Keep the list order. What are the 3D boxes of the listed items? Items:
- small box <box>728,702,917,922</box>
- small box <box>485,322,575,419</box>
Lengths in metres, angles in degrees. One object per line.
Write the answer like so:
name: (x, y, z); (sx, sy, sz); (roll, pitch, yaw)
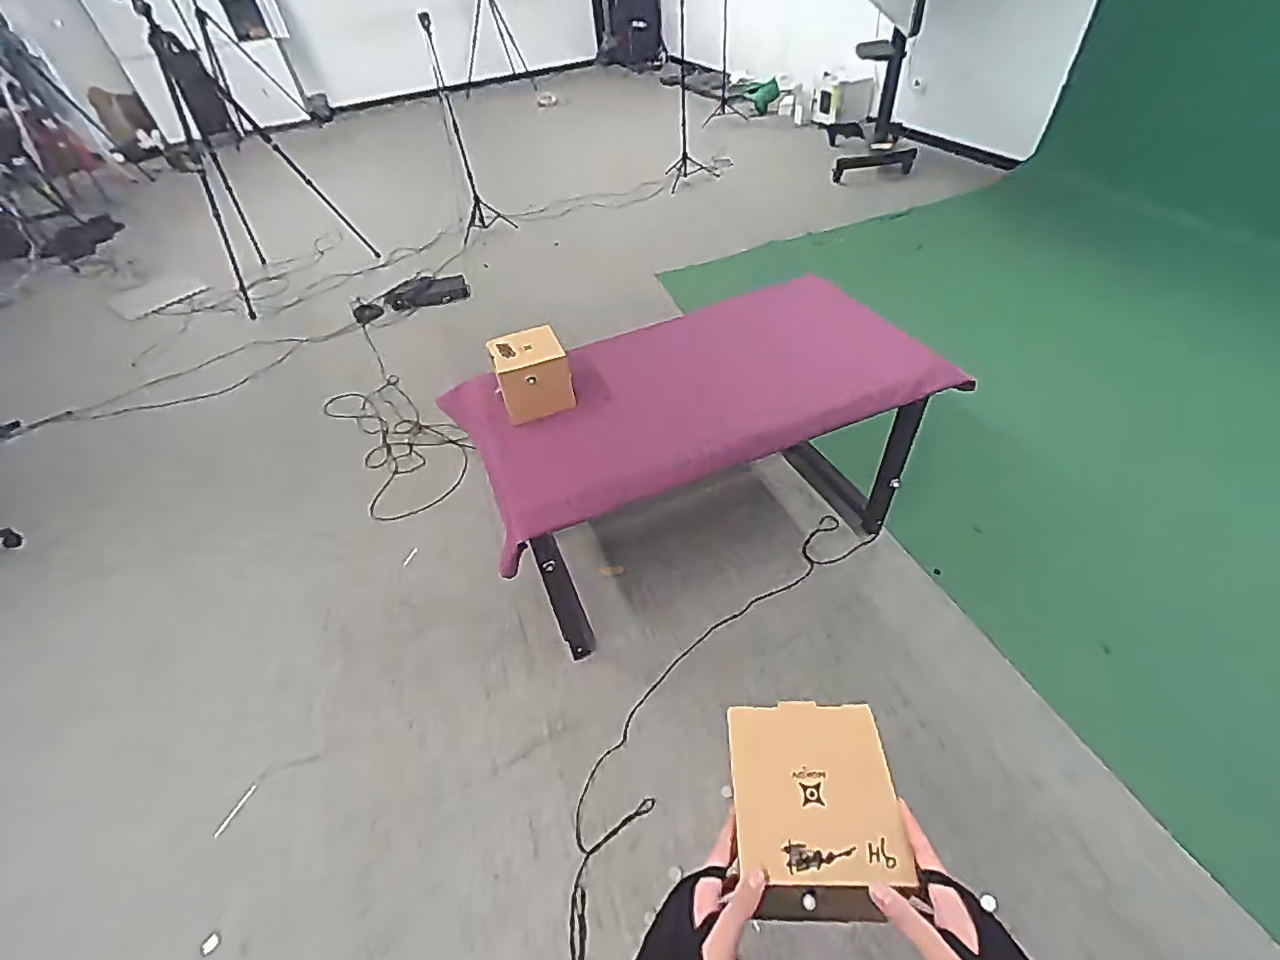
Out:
small box: (0.188, 0.376, 0.618); (0.168, 0.176, 0.179); (-4, 43, 7)
small box: (-0.287, -0.284, 1.423); (0.179, 0.176, 0.168); (-19, 48, -12)
